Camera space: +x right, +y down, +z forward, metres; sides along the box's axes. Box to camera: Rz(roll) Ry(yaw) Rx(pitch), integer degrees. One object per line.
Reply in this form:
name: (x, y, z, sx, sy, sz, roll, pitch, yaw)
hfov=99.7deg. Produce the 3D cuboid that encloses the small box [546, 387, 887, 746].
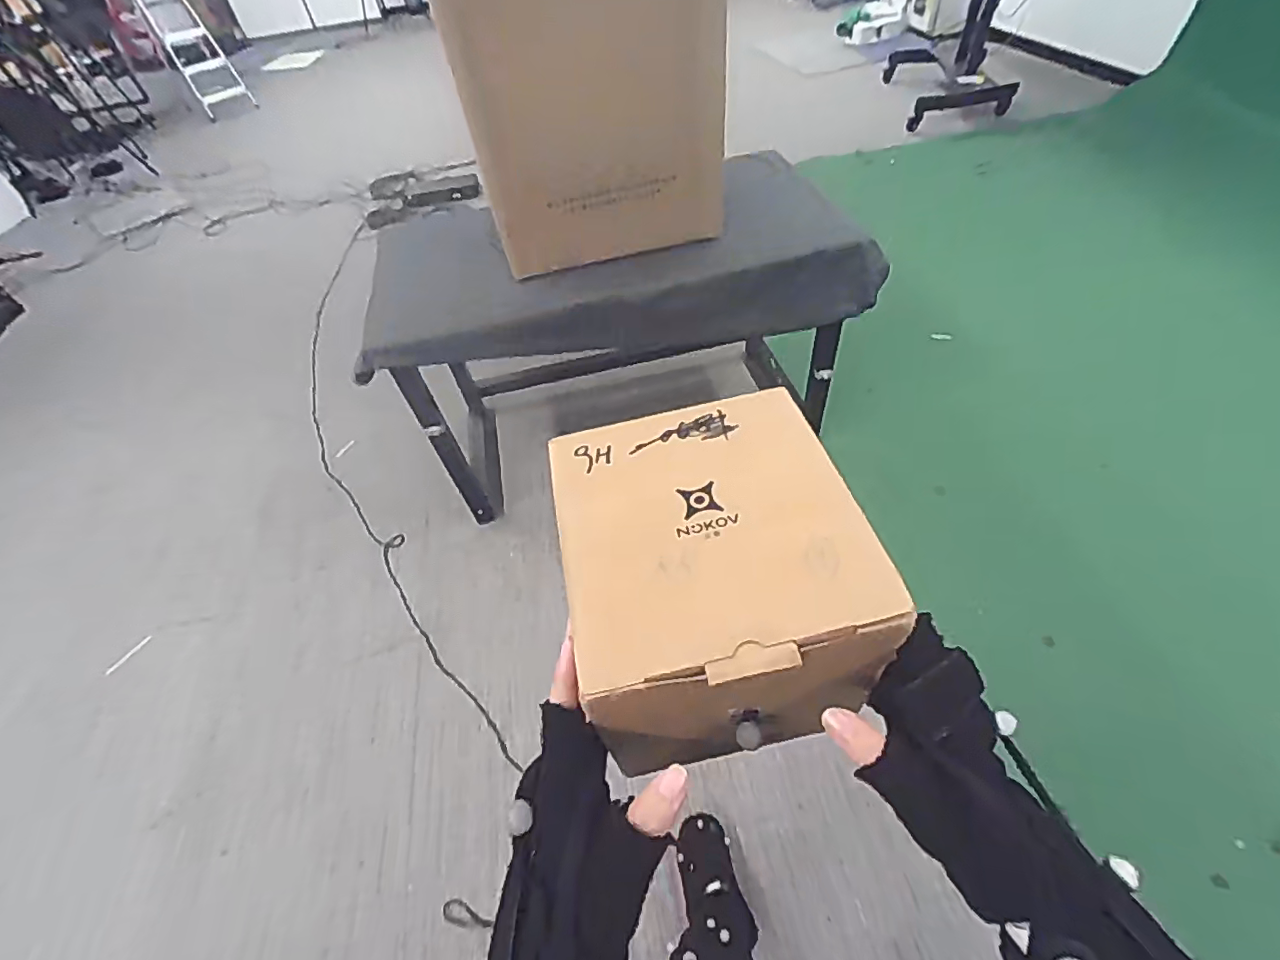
small box: (0.039, 0.068, 0.374, 0.168, 0.176, 0.179, -12, 51, -1)
